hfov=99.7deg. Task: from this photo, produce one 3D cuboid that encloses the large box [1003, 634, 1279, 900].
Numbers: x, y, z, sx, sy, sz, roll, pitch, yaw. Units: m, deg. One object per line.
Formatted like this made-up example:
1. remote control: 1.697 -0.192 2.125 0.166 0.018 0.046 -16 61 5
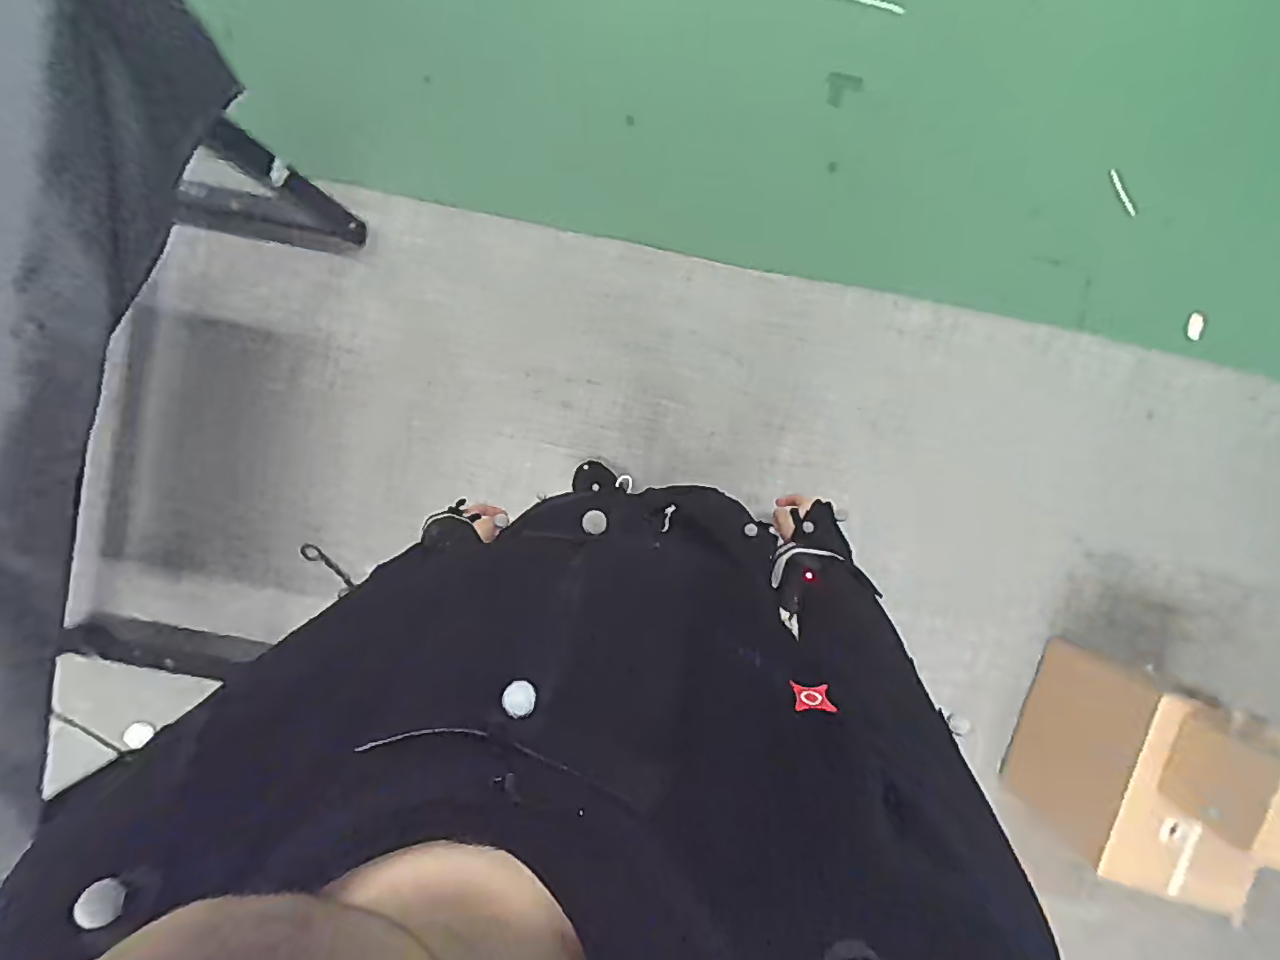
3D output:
1. large box: 1.131 0.624 1.241 0.320 0.320 0.408 15 95 0
